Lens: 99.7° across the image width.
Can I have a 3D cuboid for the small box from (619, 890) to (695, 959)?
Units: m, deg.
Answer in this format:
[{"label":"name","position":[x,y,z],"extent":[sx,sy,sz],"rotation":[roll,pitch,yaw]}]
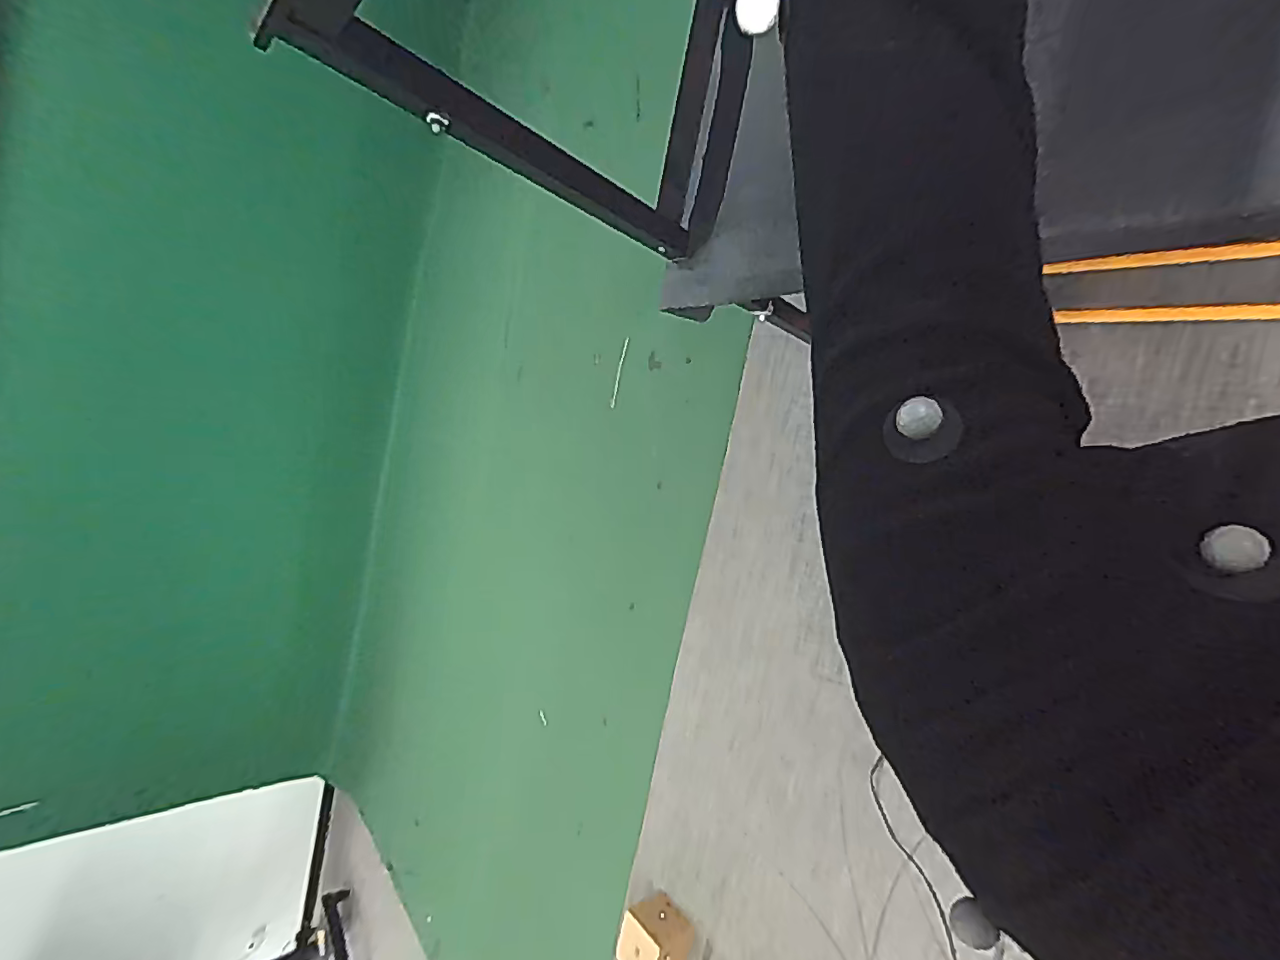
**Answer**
[{"label":"small box","position":[0.060,1.531,1.807],"extent":[0.168,0.176,0.179],"rotation":[17,96,46]}]
